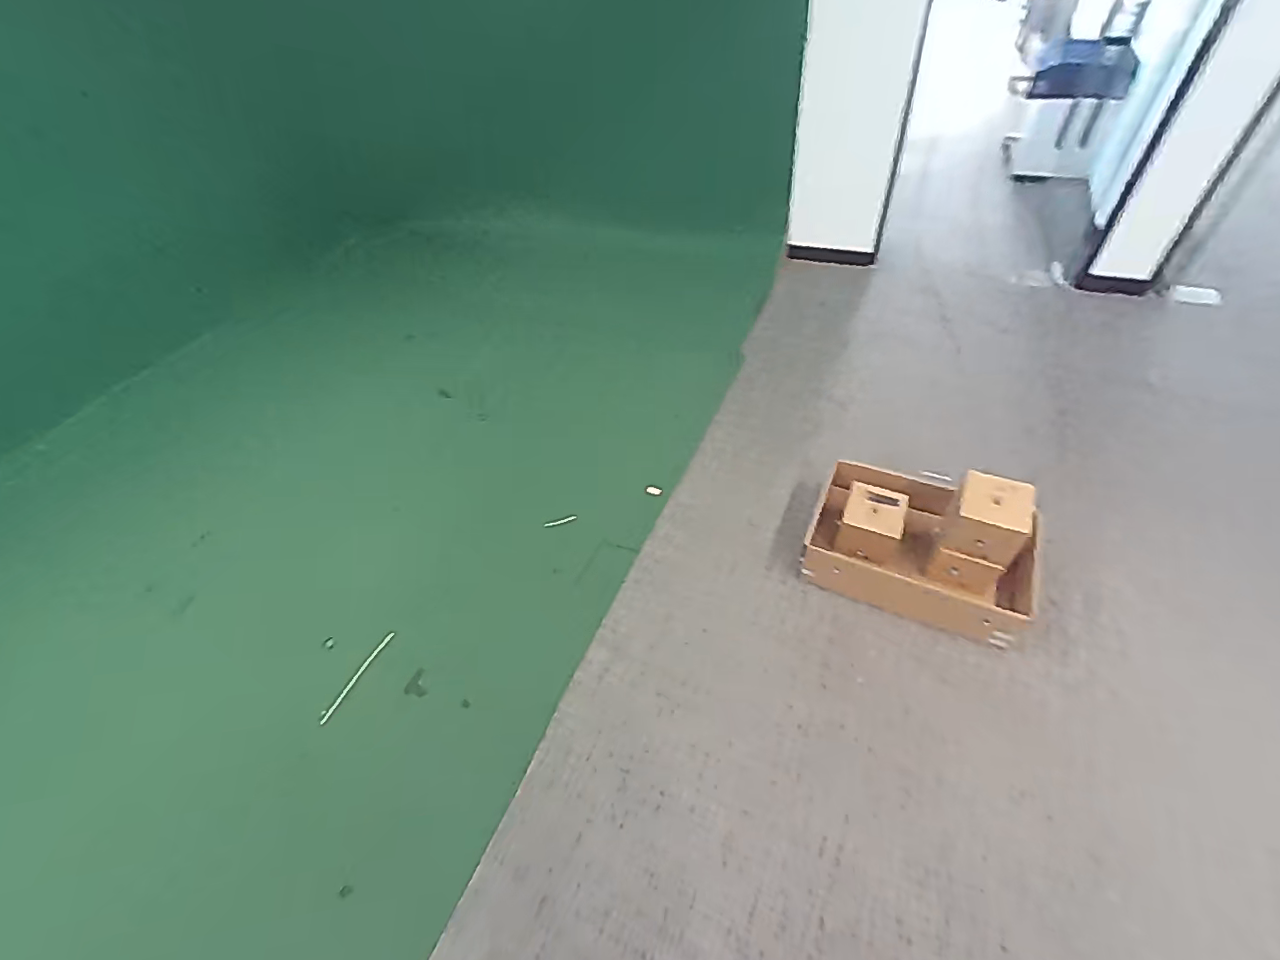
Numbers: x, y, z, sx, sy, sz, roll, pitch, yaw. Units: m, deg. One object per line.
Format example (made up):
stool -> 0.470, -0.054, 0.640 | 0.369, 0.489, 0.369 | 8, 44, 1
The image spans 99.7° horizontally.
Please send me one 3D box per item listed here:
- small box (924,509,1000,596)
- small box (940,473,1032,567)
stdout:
small box -> 0.975, 0.222, 1.632 | 0.168, 0.176, 0.179 | 18, 54, 22
small box -> 0.959, 0.114, 1.508 | 0.168, 0.176, 0.179 | 18, 54, 23
